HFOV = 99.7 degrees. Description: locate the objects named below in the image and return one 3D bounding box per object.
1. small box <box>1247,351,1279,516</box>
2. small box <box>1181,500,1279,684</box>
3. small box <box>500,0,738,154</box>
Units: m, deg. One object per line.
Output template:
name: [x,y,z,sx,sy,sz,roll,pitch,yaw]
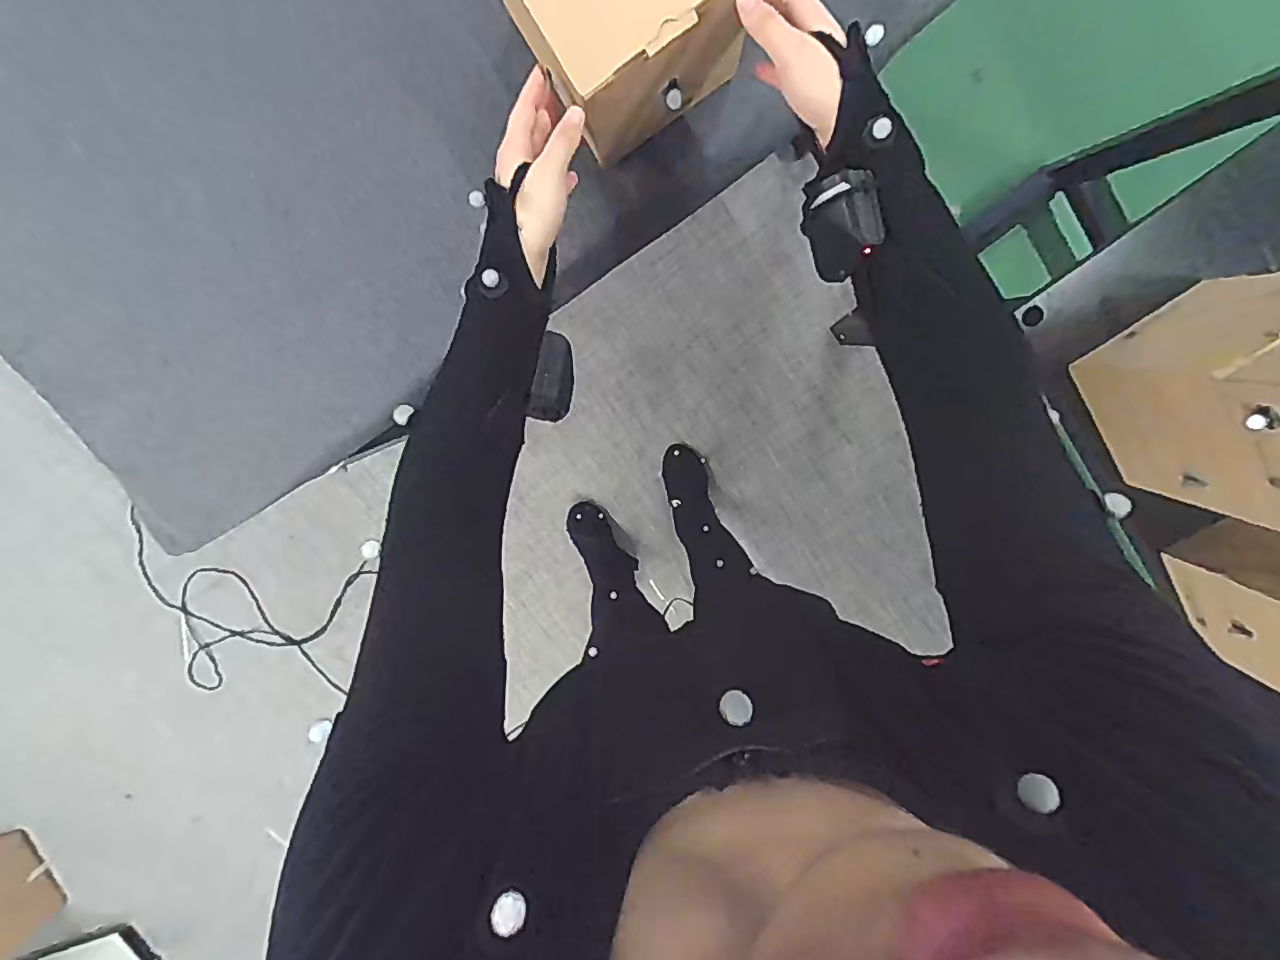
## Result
small box: [0.607,-0.043,0.384,0.179,0.176,0.168,-33,103,9]
small box: [0.764,0.132,0.596,0.179,0.176,0.168,-32,102,9]
small box: [-0.024,-0.421,0.471,0.168,0.176,0.179,-32,101,10]
